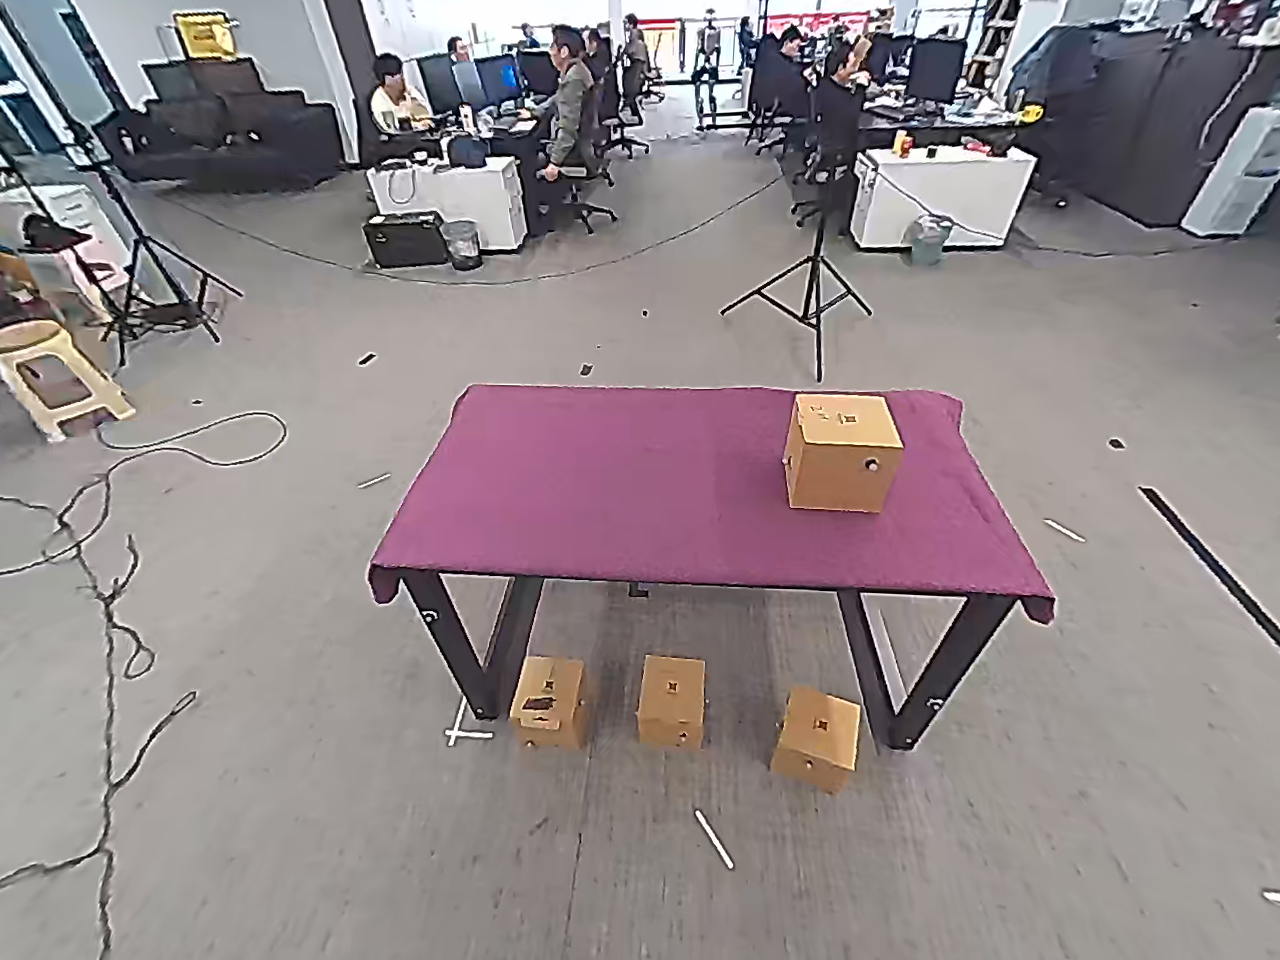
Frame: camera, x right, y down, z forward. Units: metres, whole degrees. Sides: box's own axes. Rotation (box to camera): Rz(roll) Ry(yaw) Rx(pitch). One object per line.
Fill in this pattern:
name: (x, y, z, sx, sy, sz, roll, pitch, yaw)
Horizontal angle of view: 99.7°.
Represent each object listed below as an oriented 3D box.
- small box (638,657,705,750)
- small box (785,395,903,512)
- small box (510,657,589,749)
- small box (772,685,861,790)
small box: (0.088, 0.606, 1.462, 0.168, 0.176, 0.179, 3, 41, 6)
small box: (0.395, -0.051, 1.082, 0.179, 0.176, 0.168, 2, 41, 7)
small box: (-0.236, 0.610, 1.472, 0.168, 0.176, 0.179, 2, 41, 6)
small box: (0.448, 0.661, 1.381, 0.179, 0.176, 0.168, 12, 45, 18)
